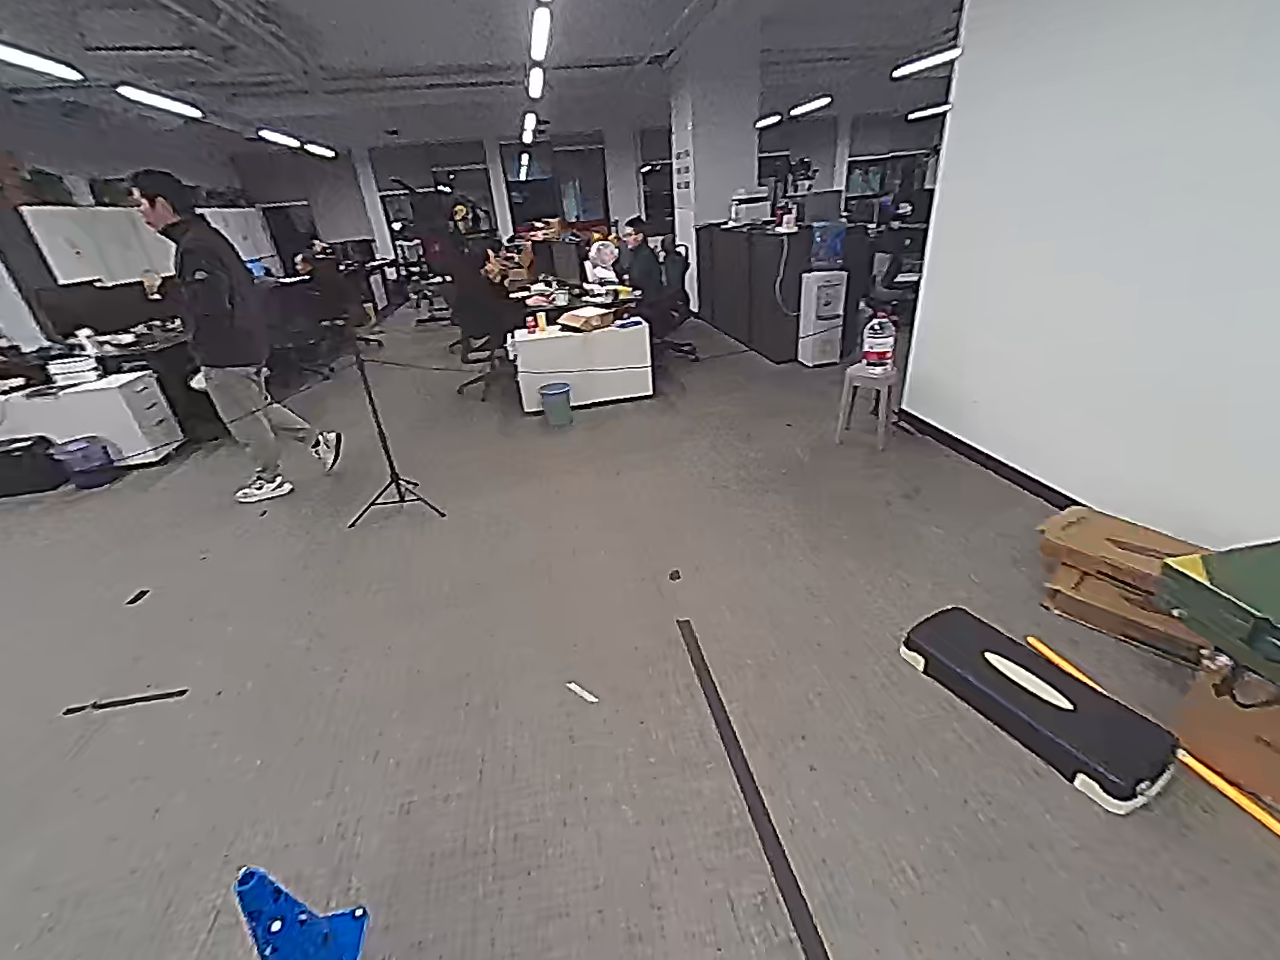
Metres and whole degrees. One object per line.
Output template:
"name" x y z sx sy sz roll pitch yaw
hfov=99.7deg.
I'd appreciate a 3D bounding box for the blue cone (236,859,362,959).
"blue cone" -0.736 0.915 1.107 0.193 0.380 0.192 -8 26 -7
